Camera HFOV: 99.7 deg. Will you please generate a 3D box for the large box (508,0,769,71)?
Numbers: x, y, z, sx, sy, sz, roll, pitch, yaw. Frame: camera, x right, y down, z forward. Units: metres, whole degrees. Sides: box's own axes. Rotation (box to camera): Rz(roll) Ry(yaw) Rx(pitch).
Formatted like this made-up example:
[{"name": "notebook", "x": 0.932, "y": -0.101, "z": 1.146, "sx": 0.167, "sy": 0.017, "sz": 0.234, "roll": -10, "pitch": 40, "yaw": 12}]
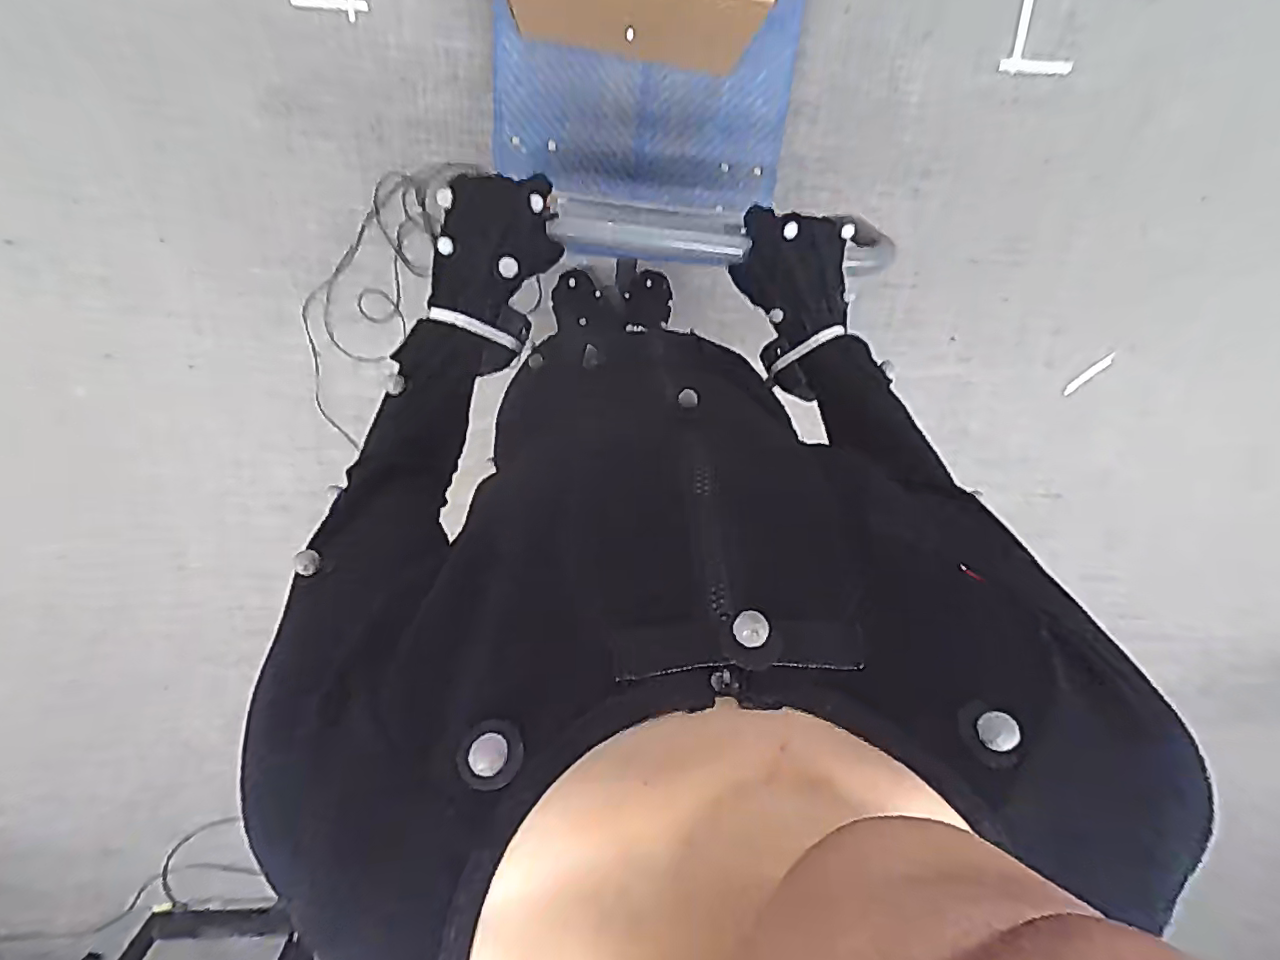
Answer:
[{"name": "large box", "x": 0.001, "y": -0.899, "z": 0.850, "sx": 0.408, "sy": 0.320, "sz": 0.320, "roll": 6, "pitch": 110, "yaw": -6}]
